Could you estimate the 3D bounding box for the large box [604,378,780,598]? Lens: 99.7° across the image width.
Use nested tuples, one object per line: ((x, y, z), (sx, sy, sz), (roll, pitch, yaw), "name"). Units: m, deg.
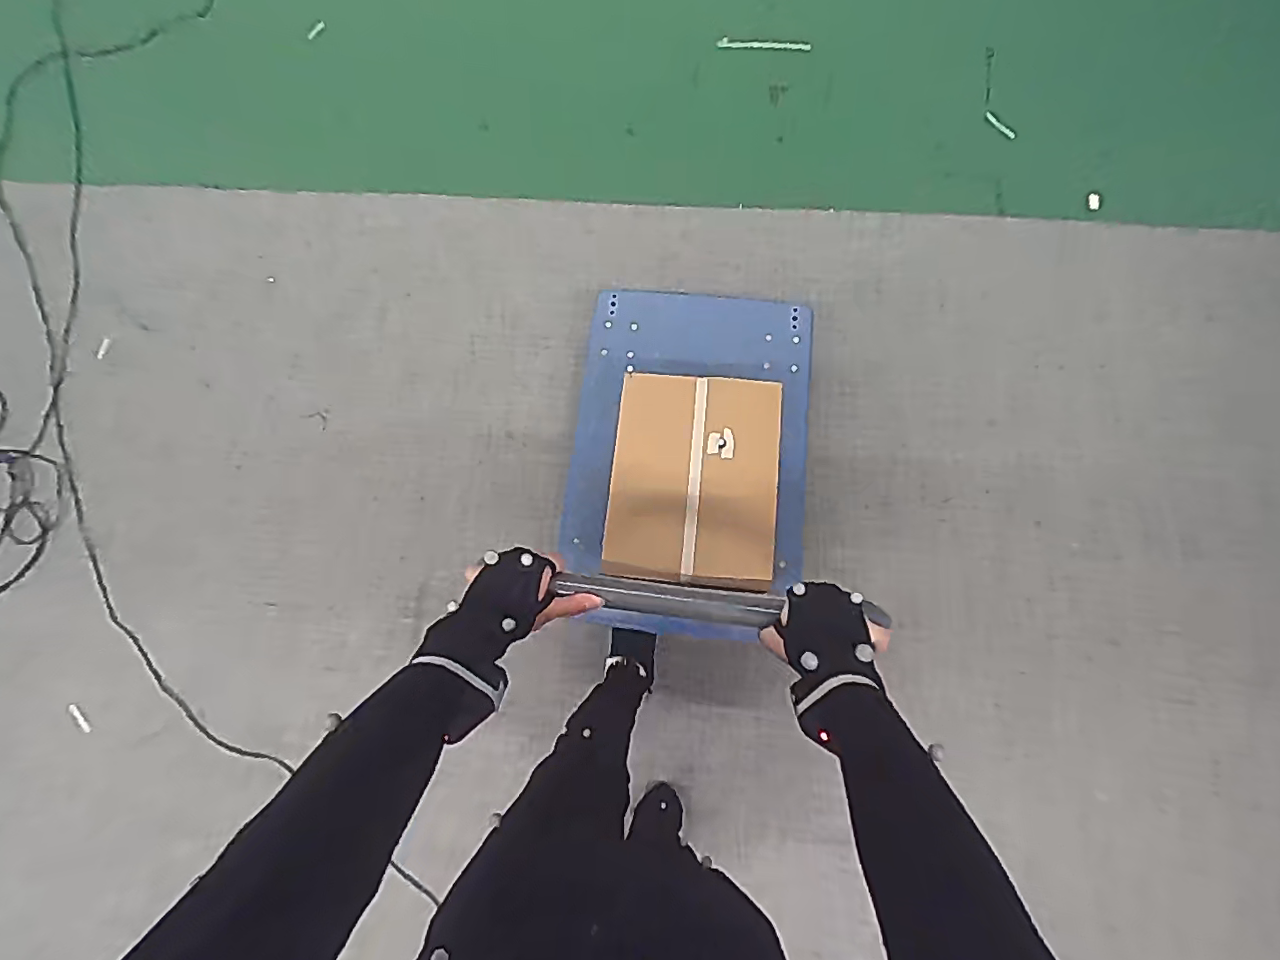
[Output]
((0.115, 0.035, 1.169), (0.320, 0.320, 0.408), (5, 76, 5), "large box")
